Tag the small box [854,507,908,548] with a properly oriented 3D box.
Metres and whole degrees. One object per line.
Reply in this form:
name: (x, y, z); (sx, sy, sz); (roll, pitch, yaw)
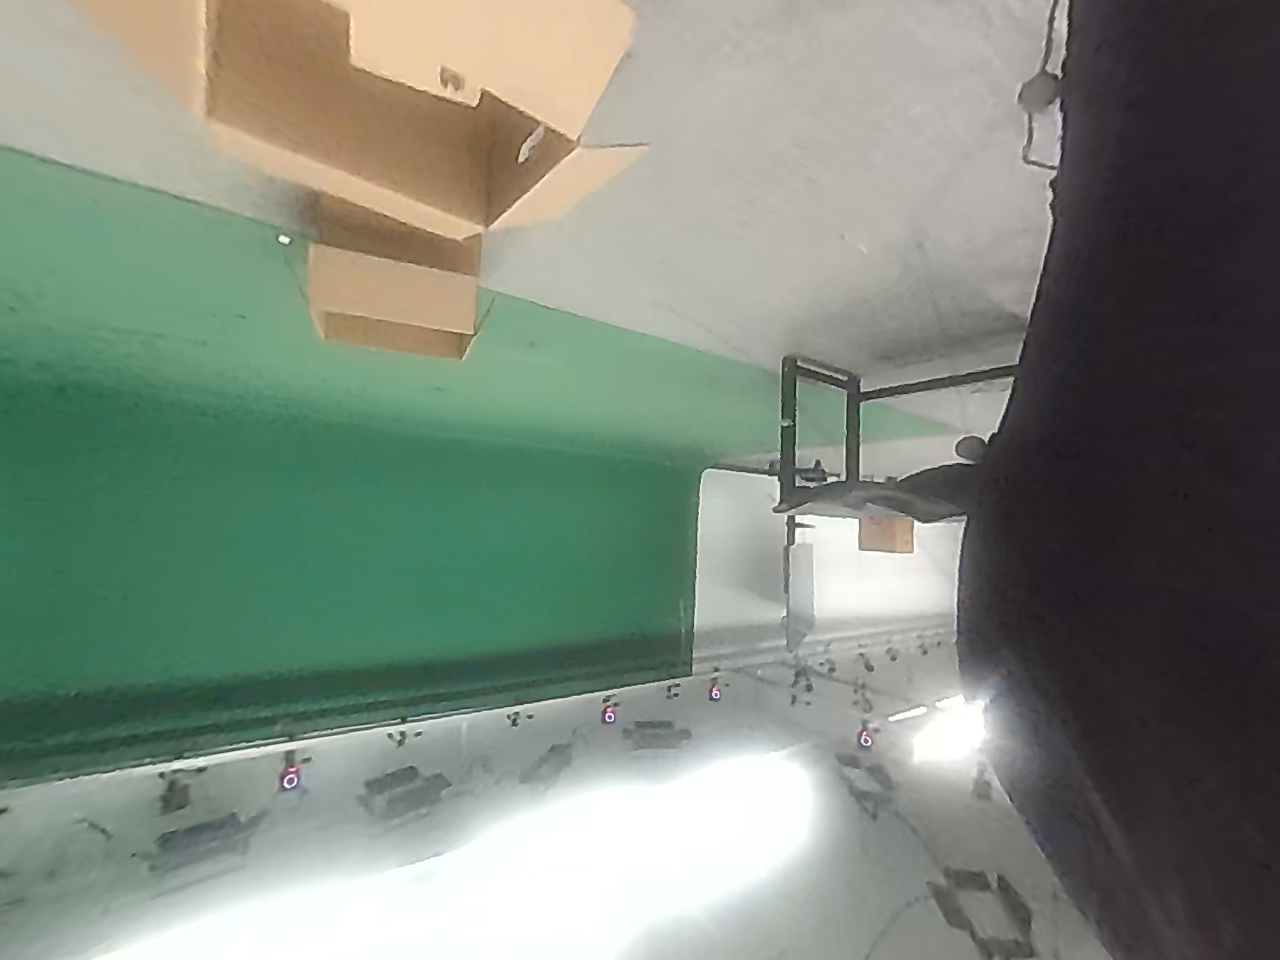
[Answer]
small box: (1.061, 0.209, 2.375); (0.179, 0.176, 0.168); (6, 174, -40)
